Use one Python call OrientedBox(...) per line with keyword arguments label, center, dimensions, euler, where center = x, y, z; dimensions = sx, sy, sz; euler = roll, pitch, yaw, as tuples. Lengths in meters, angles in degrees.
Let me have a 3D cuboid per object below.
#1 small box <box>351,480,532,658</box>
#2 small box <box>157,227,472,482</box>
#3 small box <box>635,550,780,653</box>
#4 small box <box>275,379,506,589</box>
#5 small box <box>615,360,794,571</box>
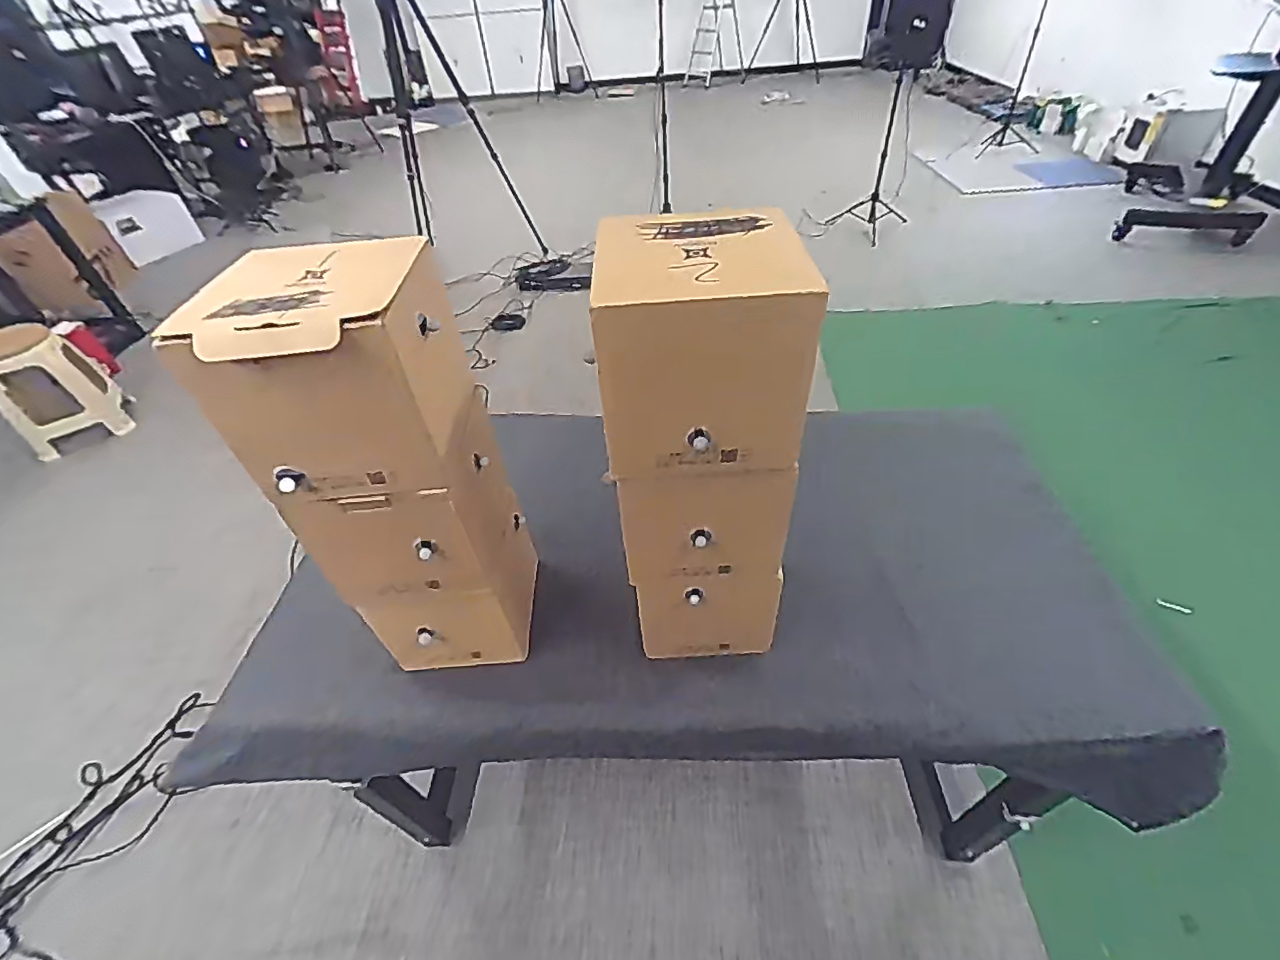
OrientedBox(label="small box", center=(-0.246, 0.124, 0.724), dimensions=(0.168, 0.176, 0.179), euler=(-4, 44, 0))
OrientedBox(label="small box", center=(-0.264, -0.111, 0.497), dimensions=(0.168, 0.176, 0.179), euler=(-5, 43, -3))
OrientedBox(label="small box", center=(0.078, 0.107, 0.716), dimensions=(0.168, 0.176, 0.179), euler=(-4, 43, 2))
OrientedBox(label="small box", center=(-0.256, 0.009, 0.610), dimensions=(0.168, 0.176, 0.179), euler=(-4, 43, -1))
OrientedBox(label="small box", center=(0.062, -0.011, 0.600), dimensions=(0.168, 0.176, 0.179), euler=(-3, 44, 1))
